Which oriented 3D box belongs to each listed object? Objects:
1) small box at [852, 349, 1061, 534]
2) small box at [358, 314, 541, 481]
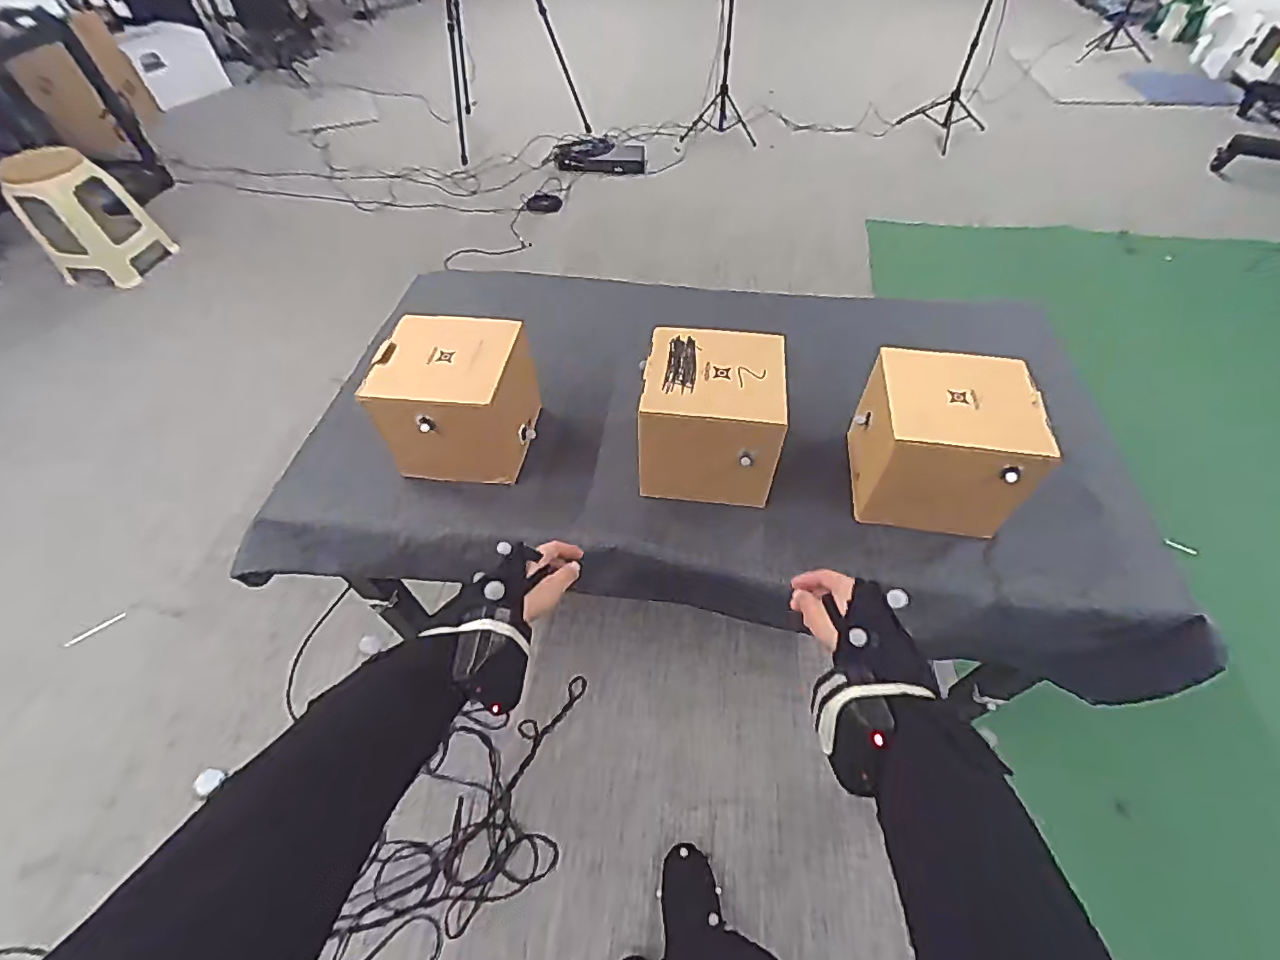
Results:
[{"bbox_3d":[0.383,-0.046,0.699,0.179,0.176,0.168,7,53,7],"label":"small box"},{"bbox_3d":[-0.253,-0.113,0.769,0.179,0.176,0.168,5,54,4],"label":"small box"}]
